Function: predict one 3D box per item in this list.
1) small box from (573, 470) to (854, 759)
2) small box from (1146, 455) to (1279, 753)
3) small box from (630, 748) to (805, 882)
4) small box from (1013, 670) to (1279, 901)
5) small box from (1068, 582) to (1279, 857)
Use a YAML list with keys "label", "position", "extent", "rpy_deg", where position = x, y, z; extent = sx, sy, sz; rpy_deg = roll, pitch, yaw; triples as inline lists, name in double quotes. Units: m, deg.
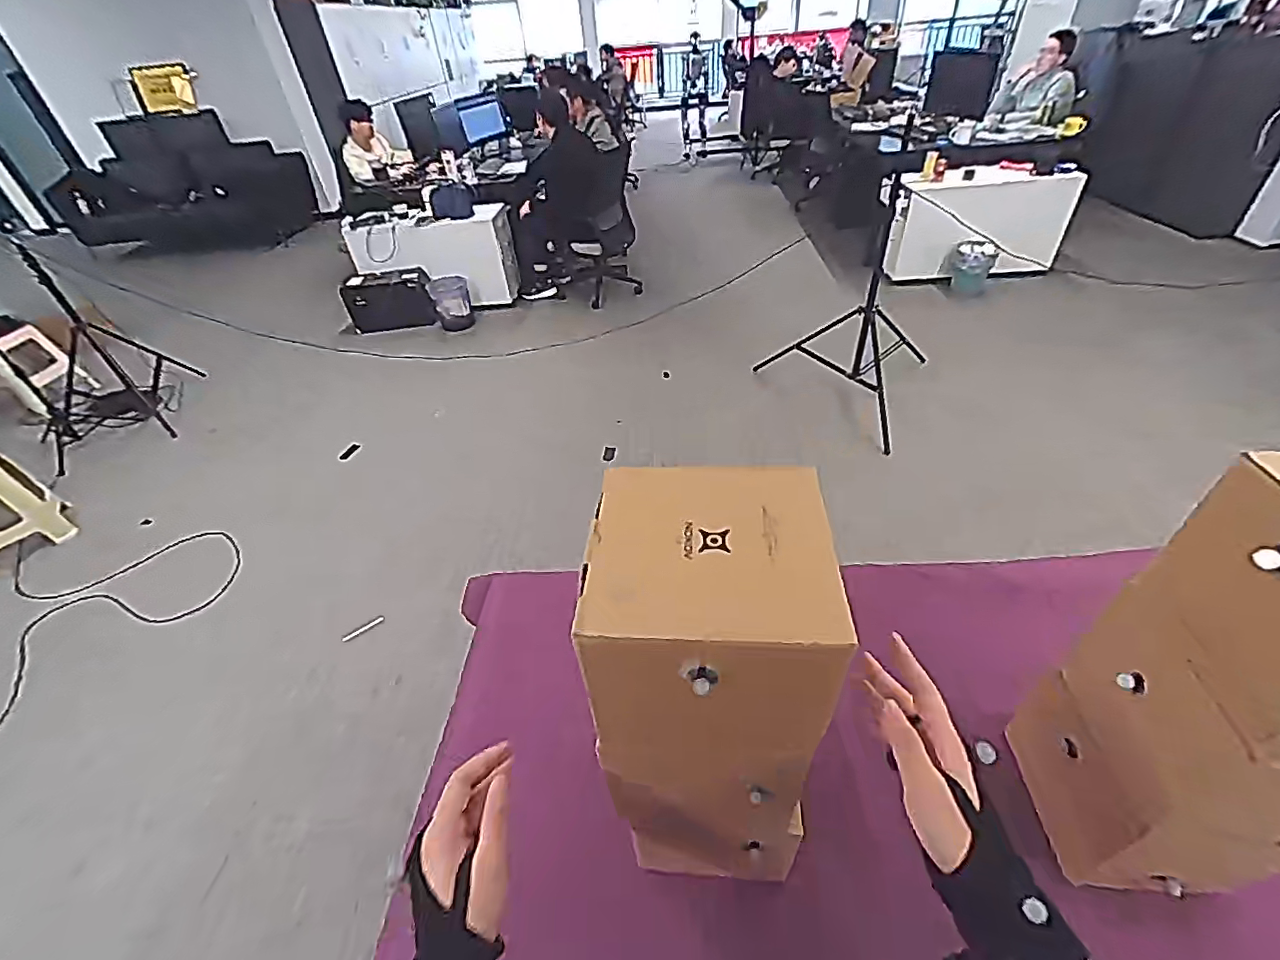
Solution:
- label: "small box"
  position: [0.055, 0.108, 0.441]
  extent: [0.179, 0.176, 0.168]
  rpy_deg: [0, 41, 6]
- label: "small box"
  position: [0.539, 0.099, 0.392]
  extent: [0.168, 0.176, 0.179]
  rpy_deg: [1, 40, 9]
- label: "small box"
  position: [0.090, 0.358, 0.649]
  extent: [0.179, 0.176, 0.168]
  rpy_deg: [0, 40, 8]
- label: "small box"
  position: [0.566, 0.341, 0.611]
  extent: [0.168, 0.176, 0.179]
  rpy_deg: [-1, 41, 7]
- label: "small box"
  position: [0.552, 0.219, 0.502]
  extent: [0.168, 0.176, 0.179]
  rpy_deg: [1, 40, 9]
